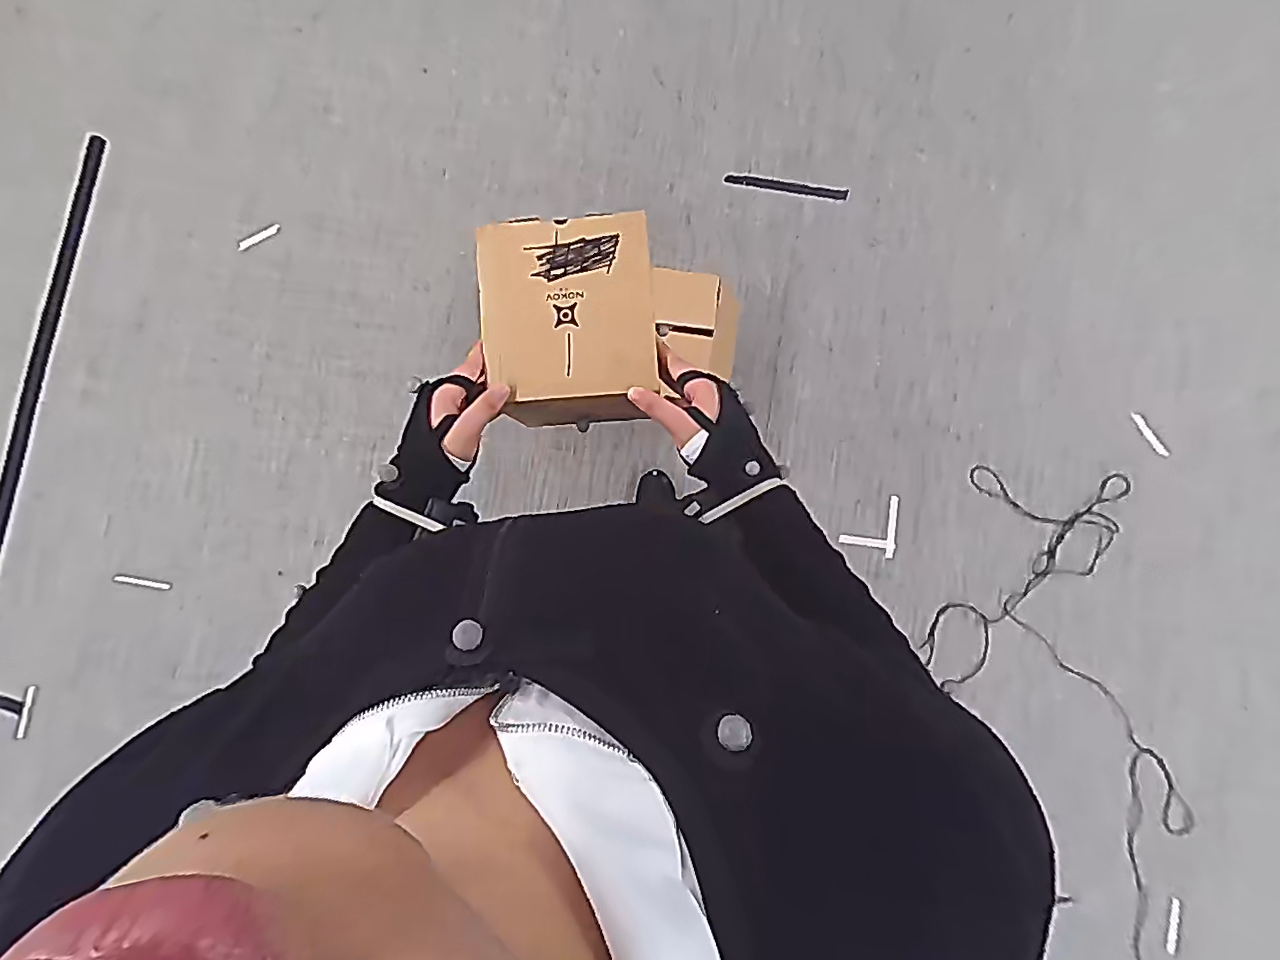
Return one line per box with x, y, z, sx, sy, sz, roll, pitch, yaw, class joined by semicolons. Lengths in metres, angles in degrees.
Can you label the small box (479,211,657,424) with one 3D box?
-0.069;-0.164;0.594;0.168;0.176;0.179;-4;88;1;small box
